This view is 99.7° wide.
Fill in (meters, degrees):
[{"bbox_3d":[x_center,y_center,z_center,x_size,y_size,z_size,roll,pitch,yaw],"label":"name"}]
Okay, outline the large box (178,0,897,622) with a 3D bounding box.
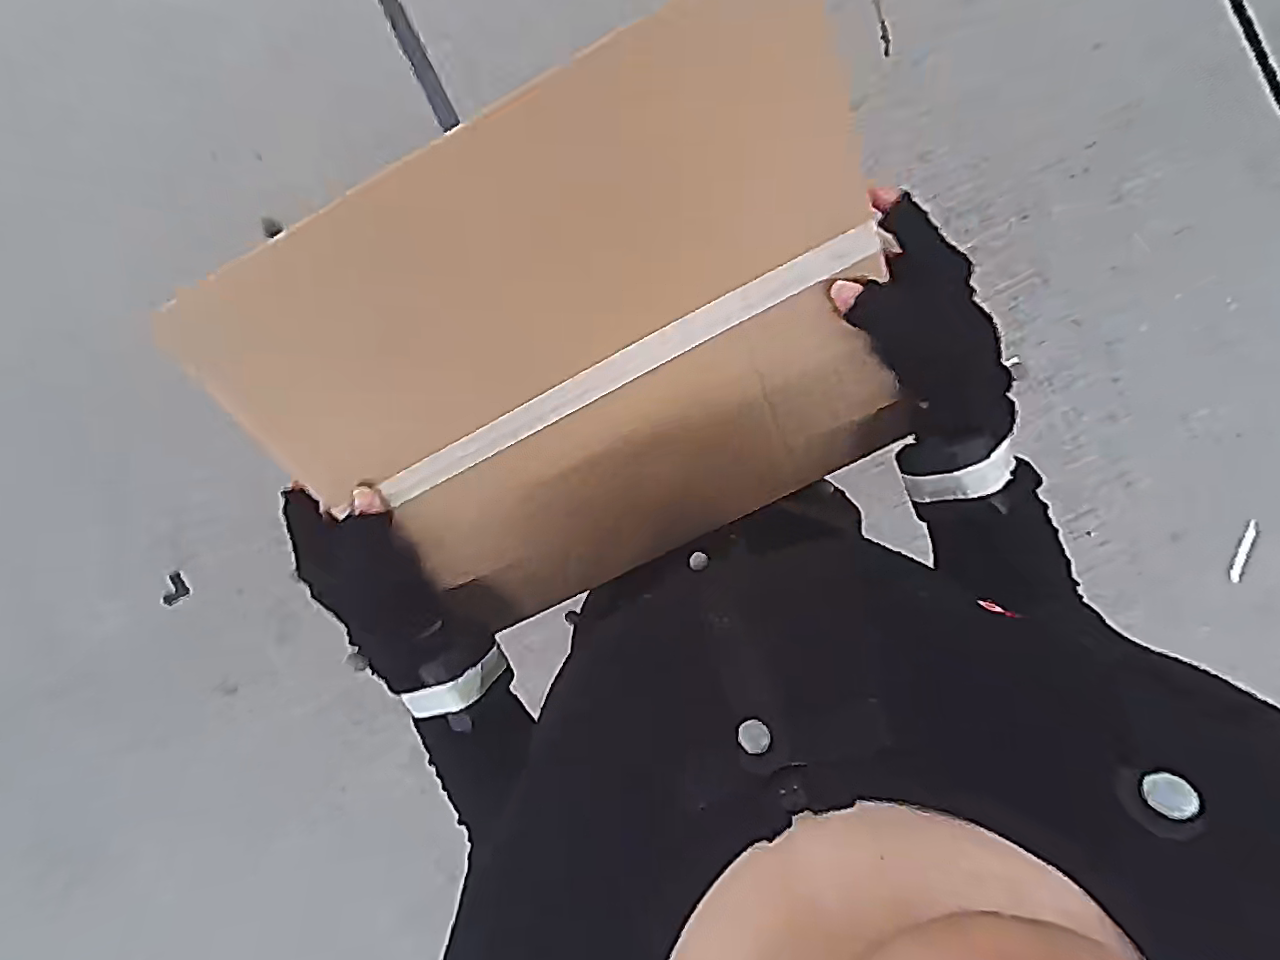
[{"bbox_3d":[-0.060,-0.149,0.498,0.408,0.320,0.320,-27,123,6],"label":"large box"}]
